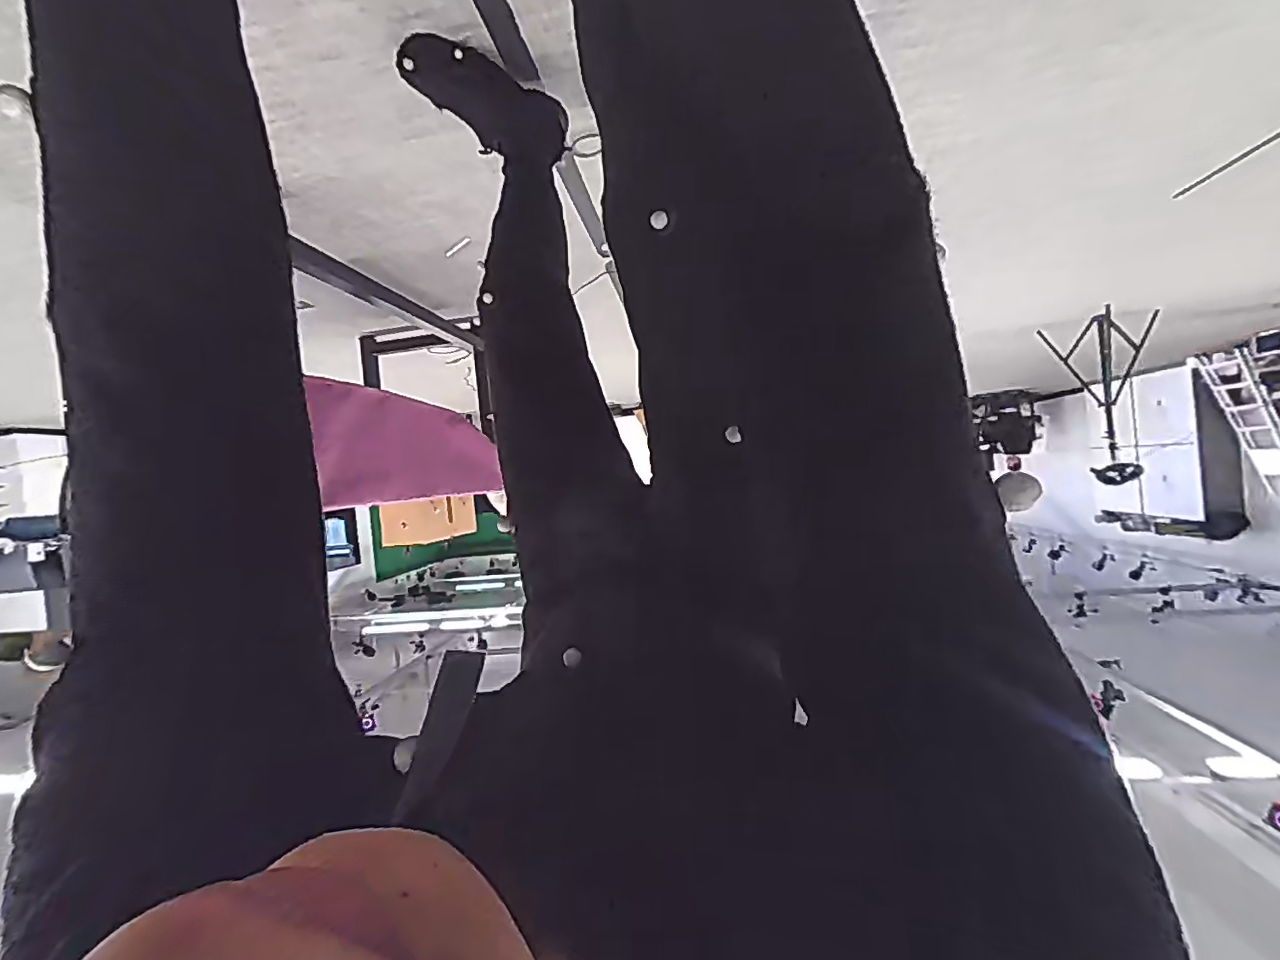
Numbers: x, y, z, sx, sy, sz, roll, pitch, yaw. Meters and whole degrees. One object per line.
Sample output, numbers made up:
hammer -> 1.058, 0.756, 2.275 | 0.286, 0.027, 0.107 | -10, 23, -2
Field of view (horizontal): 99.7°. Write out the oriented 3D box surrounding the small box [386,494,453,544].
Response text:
small box -> -0.825, 0.142, 2.016 | 0.179, 0.176, 0.168 | -6, -179, 12
